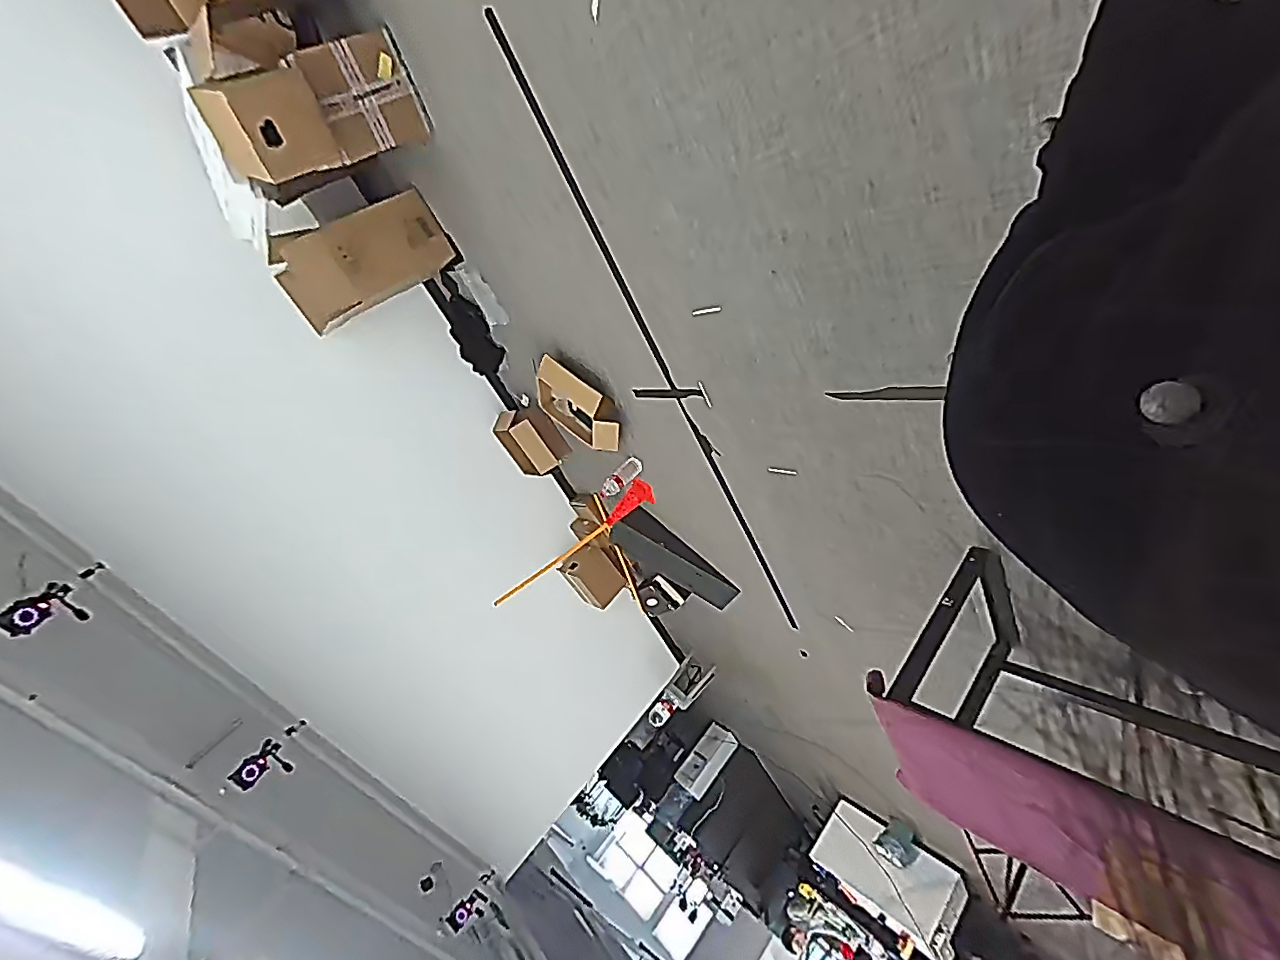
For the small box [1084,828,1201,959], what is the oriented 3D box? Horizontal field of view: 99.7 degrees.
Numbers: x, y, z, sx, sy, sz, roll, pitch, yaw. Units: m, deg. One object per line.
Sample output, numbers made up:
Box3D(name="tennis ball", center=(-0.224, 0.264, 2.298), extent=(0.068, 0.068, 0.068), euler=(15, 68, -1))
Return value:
Box3D(name="small box", center=(1.124, 0.937, 1.214), extent=(0.168, 0.176, 0.179), euler=(12, 139, 49))
